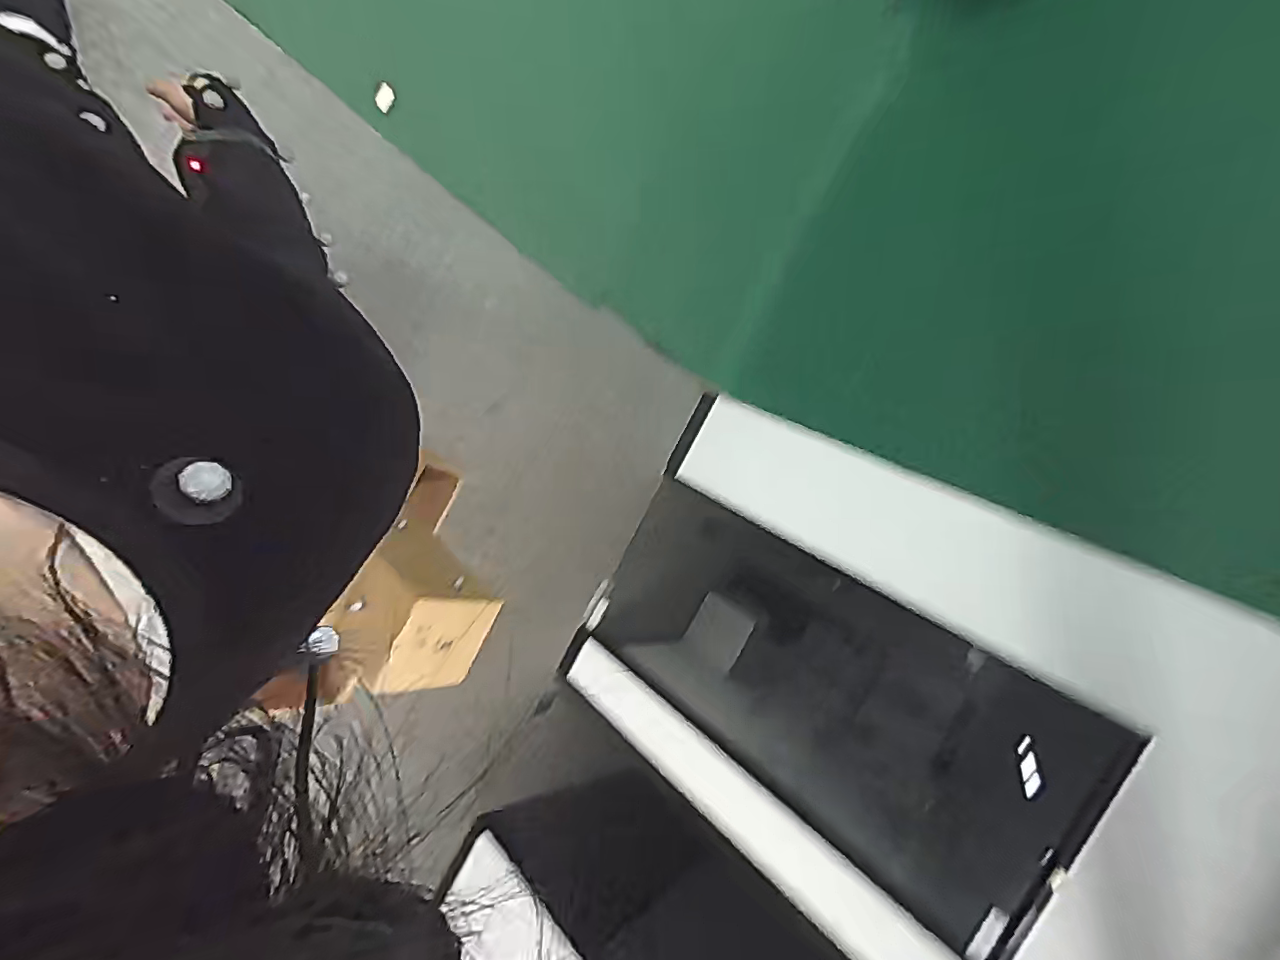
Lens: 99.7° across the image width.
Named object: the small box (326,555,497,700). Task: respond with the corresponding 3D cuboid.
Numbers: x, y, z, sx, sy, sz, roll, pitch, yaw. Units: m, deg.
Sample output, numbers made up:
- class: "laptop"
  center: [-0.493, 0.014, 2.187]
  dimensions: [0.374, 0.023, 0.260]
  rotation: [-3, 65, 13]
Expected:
- class: "small box"
  center: [-0.384, 0.241, 0.911]
  dimensions: [0.179, 0.176, 0.168]
  rotation: [24, 95, -56]
